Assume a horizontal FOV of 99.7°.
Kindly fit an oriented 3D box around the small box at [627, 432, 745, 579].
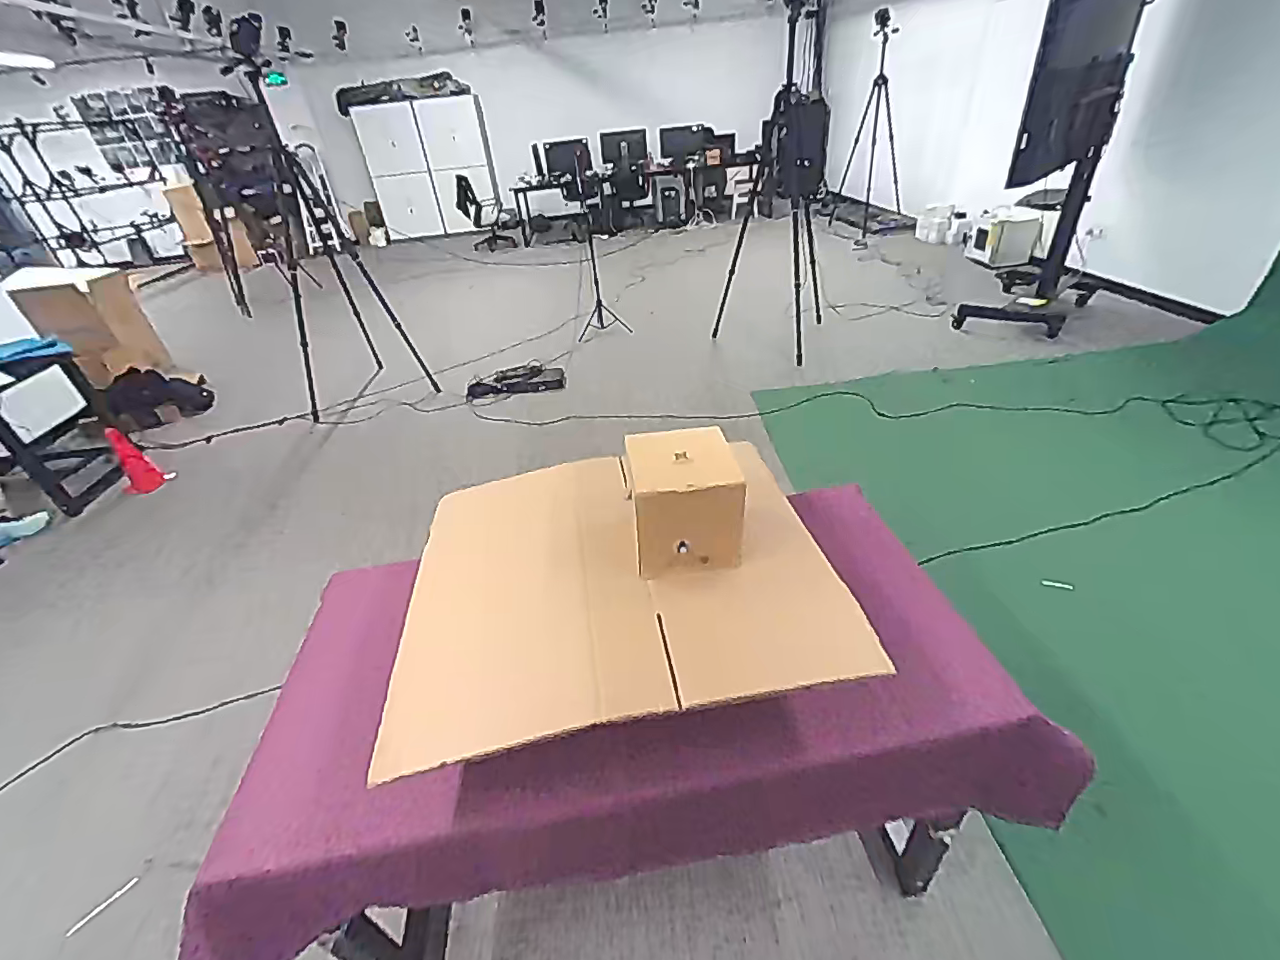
[{"bbox_3d":[0.069,0.040,0.900,0.168,0.176,0.179,-7,35,-4],"label":"small box"}]
